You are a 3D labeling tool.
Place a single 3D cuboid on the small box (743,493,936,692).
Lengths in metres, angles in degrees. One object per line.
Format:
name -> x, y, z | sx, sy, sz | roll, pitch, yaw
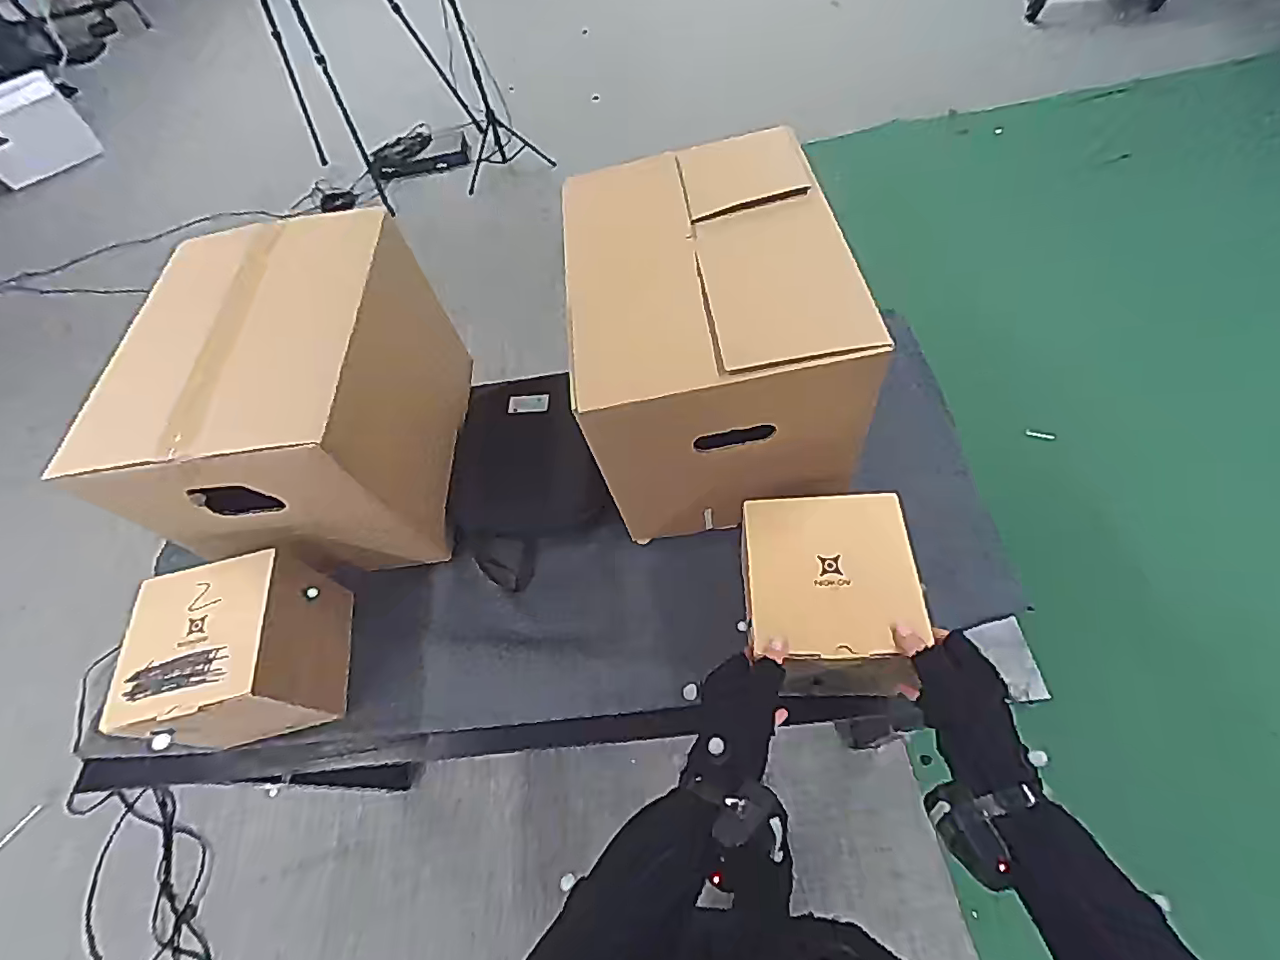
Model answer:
small box -> 0.206, 0.132, 0.618 | 0.168, 0.176, 0.179 | -3, 58, 9
